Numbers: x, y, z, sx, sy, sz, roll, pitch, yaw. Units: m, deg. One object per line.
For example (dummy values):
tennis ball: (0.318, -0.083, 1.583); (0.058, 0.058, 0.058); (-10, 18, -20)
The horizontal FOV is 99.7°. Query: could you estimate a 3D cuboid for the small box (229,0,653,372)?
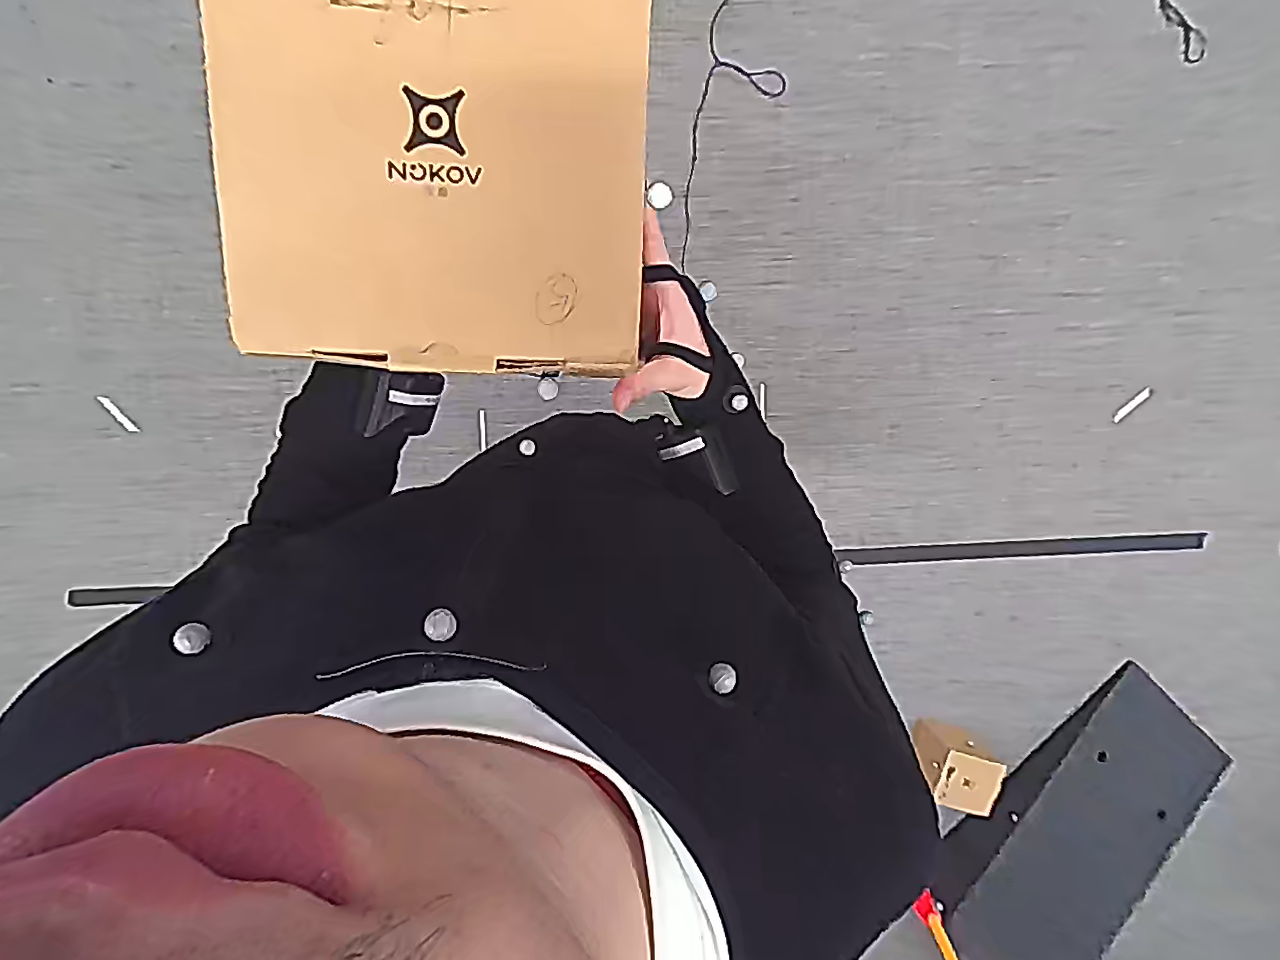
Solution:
small box: (-0.084, -0.153, 0.302); (0.168, 0.176, 0.179); (1, 99, -5)
